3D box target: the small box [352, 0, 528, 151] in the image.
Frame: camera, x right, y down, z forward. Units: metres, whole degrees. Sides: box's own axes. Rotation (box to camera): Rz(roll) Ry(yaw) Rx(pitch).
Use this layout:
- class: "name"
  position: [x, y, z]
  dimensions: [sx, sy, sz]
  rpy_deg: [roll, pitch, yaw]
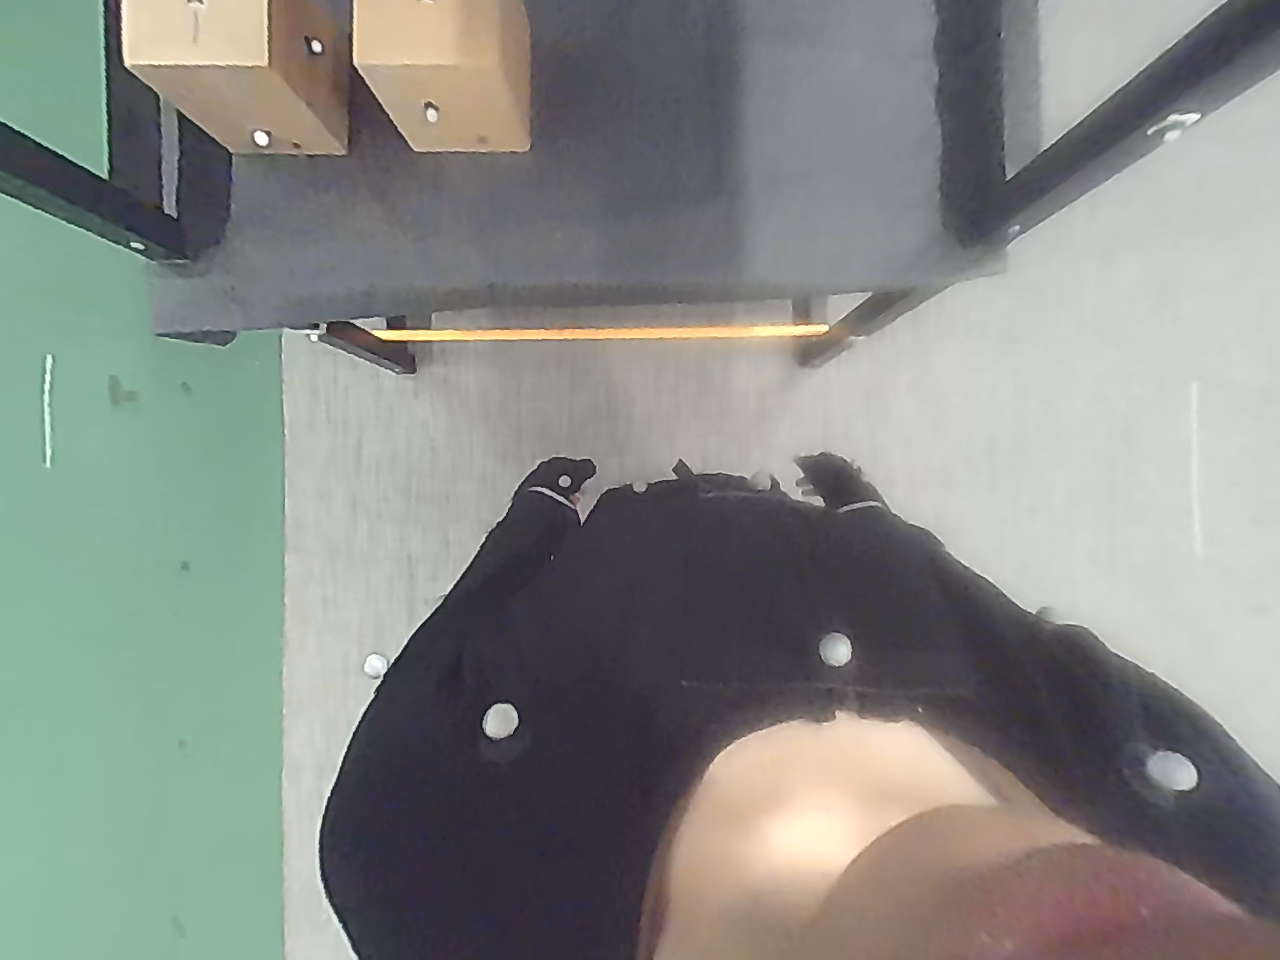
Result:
- class: "small box"
  position: [-0.240, -0.549, 0.686]
  dimensions: [0.168, 0.176, 0.179]
  rpy_deg: [0, 90, 0]

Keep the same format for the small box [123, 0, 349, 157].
- class: "small box"
  position: [-0.492, -0.546, 0.683]
  dimensions: [0.168, 0.176, 0.179]
  rpy_deg: [0, 91, 0]
